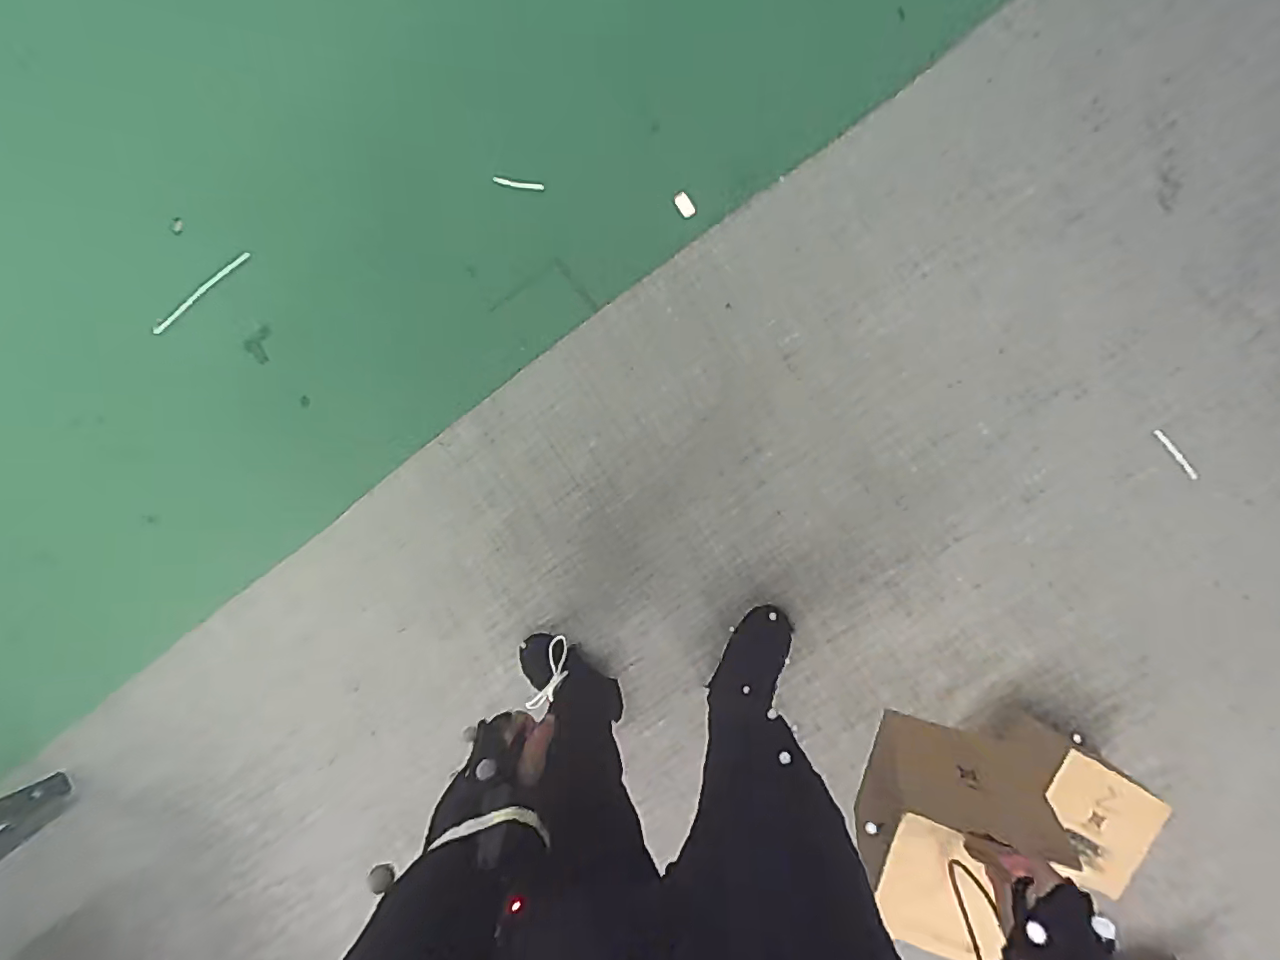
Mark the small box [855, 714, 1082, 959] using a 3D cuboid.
[{"bbox_3d":[0.357,0.418,0.627,0.168,0.179,0.176,14,106,15],"label":"small box"}]
